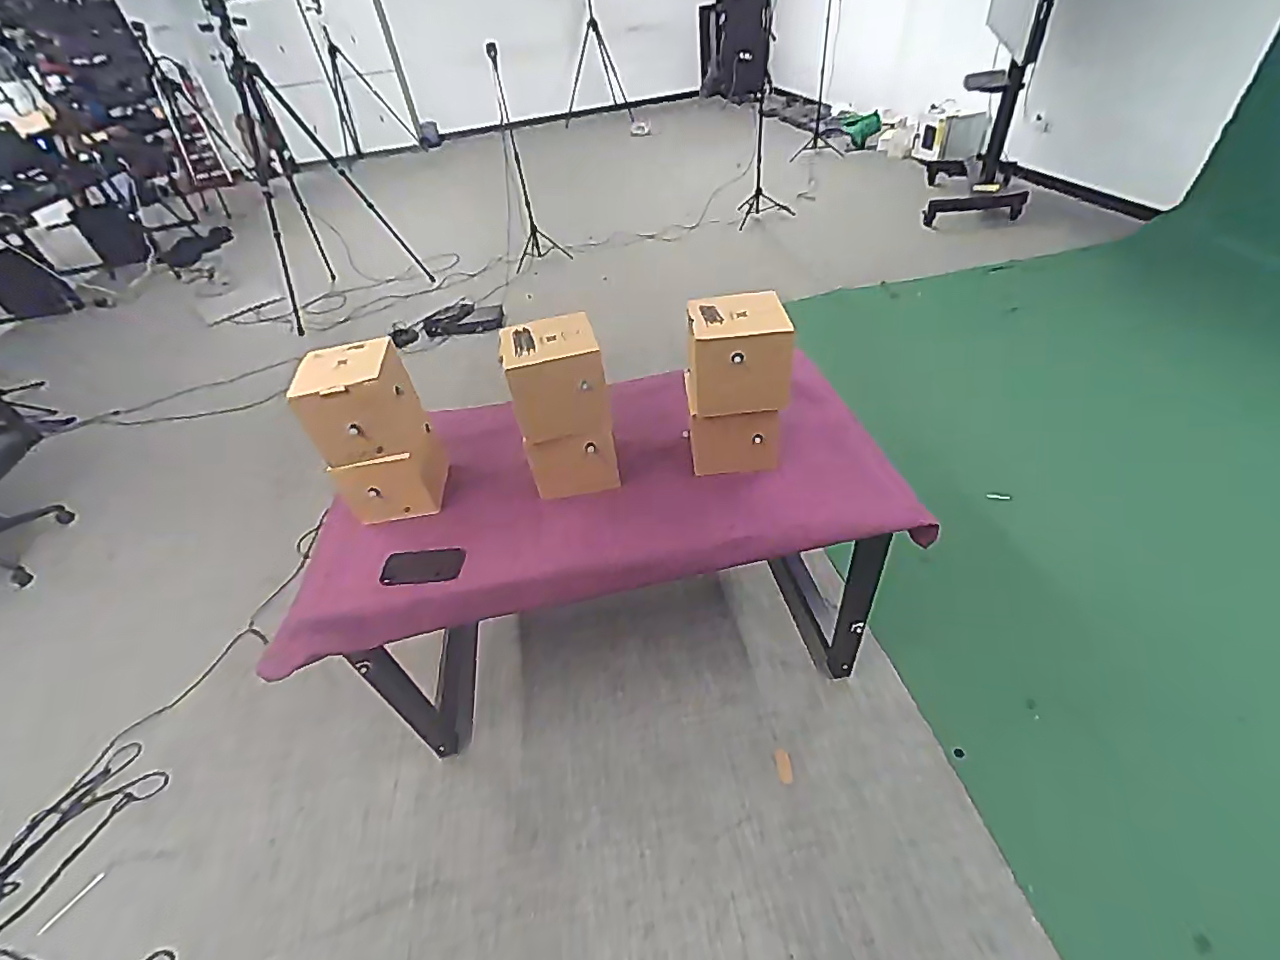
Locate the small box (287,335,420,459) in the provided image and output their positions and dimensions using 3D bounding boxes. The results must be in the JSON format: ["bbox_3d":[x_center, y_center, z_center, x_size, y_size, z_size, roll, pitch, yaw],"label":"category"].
[{"bbox_3d":[-0.551,-0.159,1.071,0.168,0.176,0.179,-13,43,-5],"label":"small box"}]

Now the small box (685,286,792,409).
[{"bbox_3d":[0.185,-0.251,1.041,0.179,0.176,0.168,-6,42,3],"label":"small box"}]

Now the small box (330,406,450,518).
[{"bbox_3d":[-0.530,-0.033,1.175,0.168,0.176,0.179,-10,42,-1],"label":"small box"}]

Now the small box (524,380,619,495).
[{"bbox_3d":[-0.143,-0.091,1.166,0.179,0.176,0.168,-10,42,-1],"label":"small box"}]

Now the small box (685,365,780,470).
[{"bbox_3d":[0.194,-0.141,1.162,0.179,0.176,0.168,-7,42,4],"label":"small box"}]
